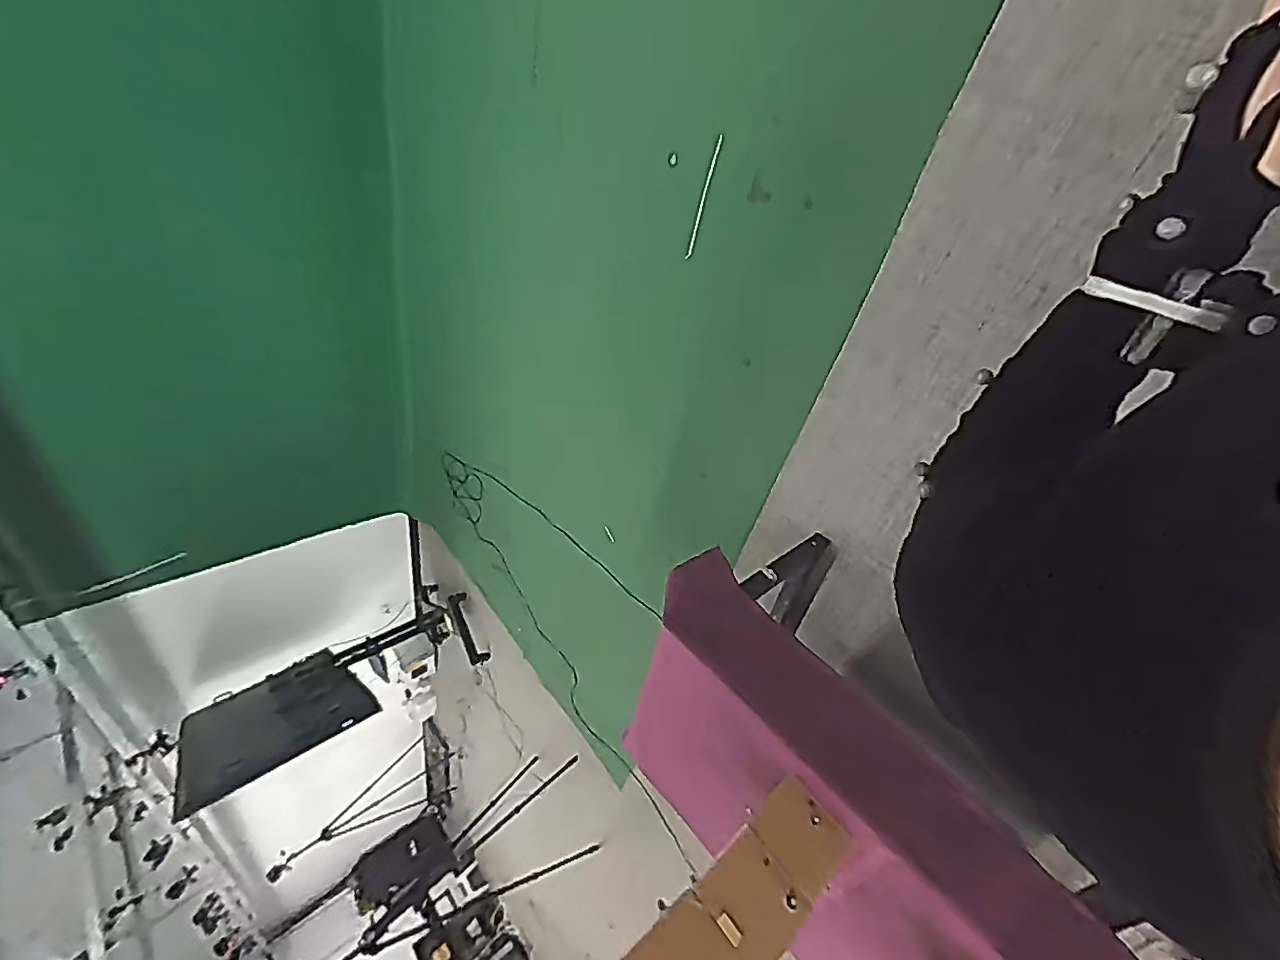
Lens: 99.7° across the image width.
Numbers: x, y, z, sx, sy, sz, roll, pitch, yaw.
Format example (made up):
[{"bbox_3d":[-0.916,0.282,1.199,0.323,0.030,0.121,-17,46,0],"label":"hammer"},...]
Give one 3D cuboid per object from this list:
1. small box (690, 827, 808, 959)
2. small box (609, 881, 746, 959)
[{"bbox_3d":[0.188,0.801,1.020,0.168,0.176,0.179,44,136,29],"label":"small box"},{"bbox_3d":[0.067,0.840,0.917,0.179,0.176,0.168,45,135,29],"label":"small box"}]
